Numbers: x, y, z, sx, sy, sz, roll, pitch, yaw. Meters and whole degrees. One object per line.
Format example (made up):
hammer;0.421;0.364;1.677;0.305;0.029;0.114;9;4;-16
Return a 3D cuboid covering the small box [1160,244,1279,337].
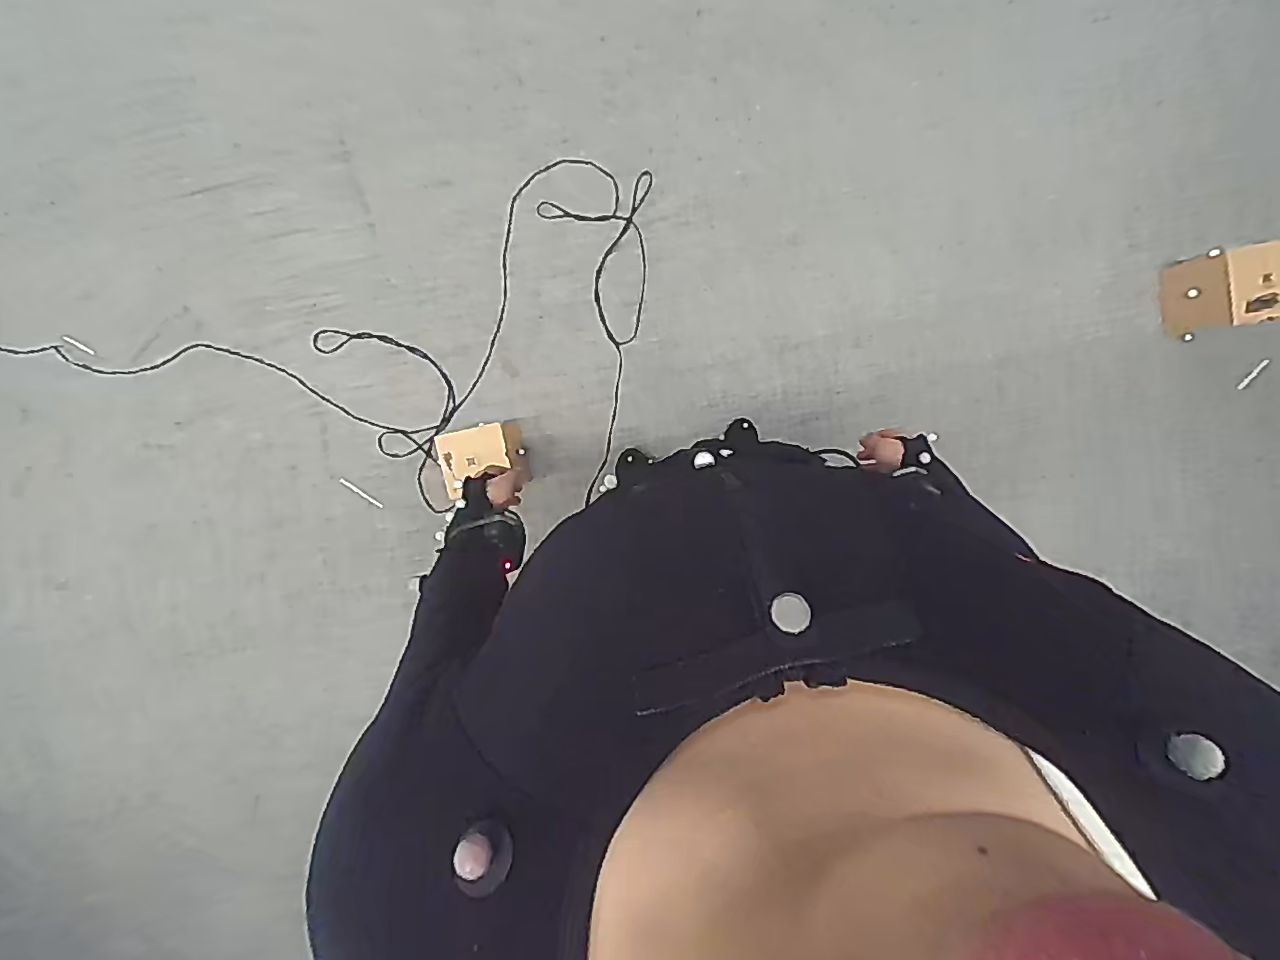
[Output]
small box;1.431;-0.454;1.320;0.168;0.176;0.179;-8;95;3

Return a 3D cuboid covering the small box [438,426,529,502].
small box;-0.399;-0.048;1.416;0.179;0.176;0.168;-12;95;2
